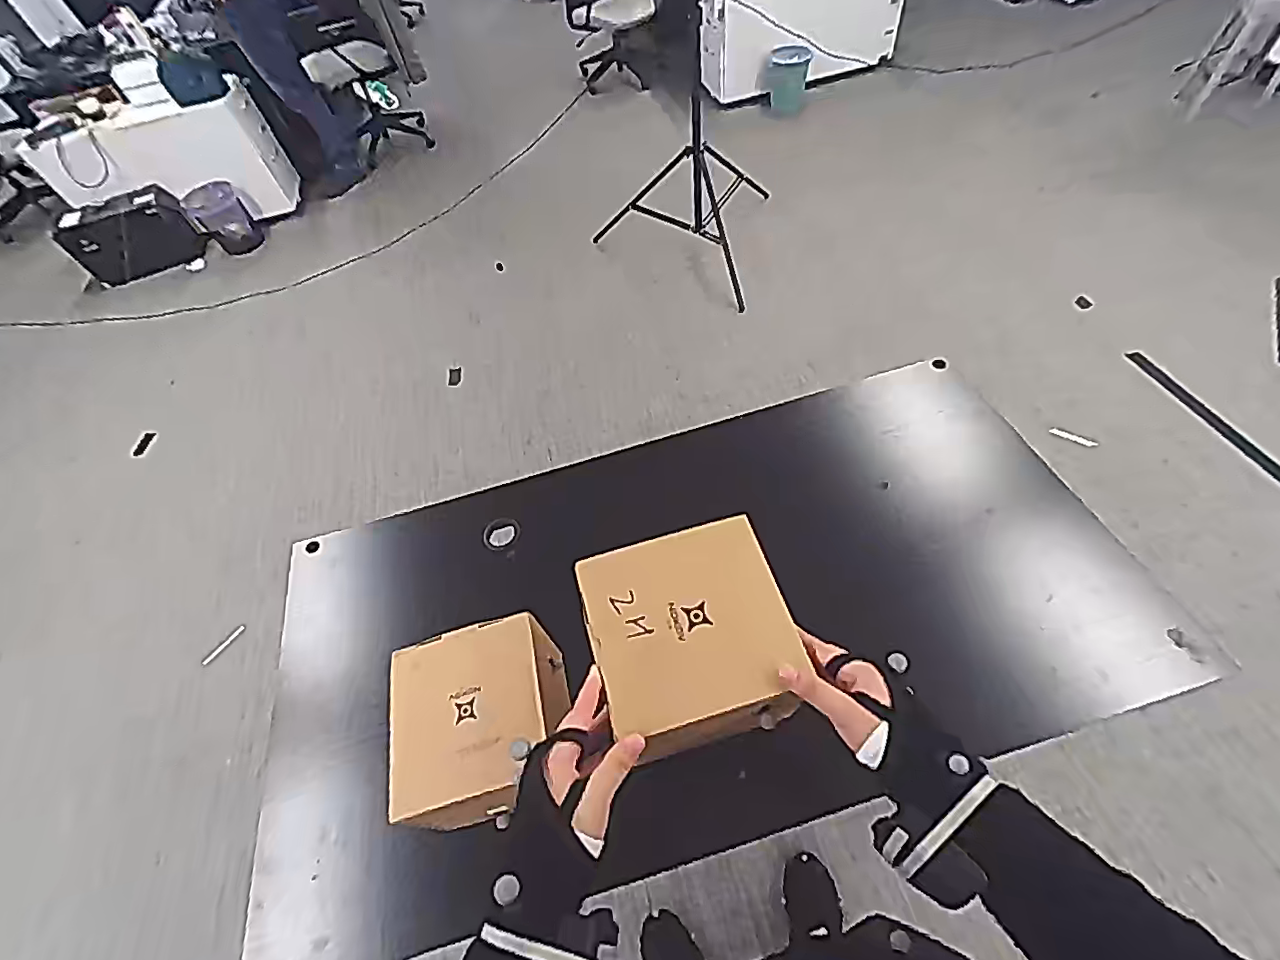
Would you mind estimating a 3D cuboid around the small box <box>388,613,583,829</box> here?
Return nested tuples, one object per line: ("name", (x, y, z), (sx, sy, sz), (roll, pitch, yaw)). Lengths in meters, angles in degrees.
("small box", (-0.175, 0.287, 0.636), (0.168, 0.176, 0.179), (-17, 55, -3))
